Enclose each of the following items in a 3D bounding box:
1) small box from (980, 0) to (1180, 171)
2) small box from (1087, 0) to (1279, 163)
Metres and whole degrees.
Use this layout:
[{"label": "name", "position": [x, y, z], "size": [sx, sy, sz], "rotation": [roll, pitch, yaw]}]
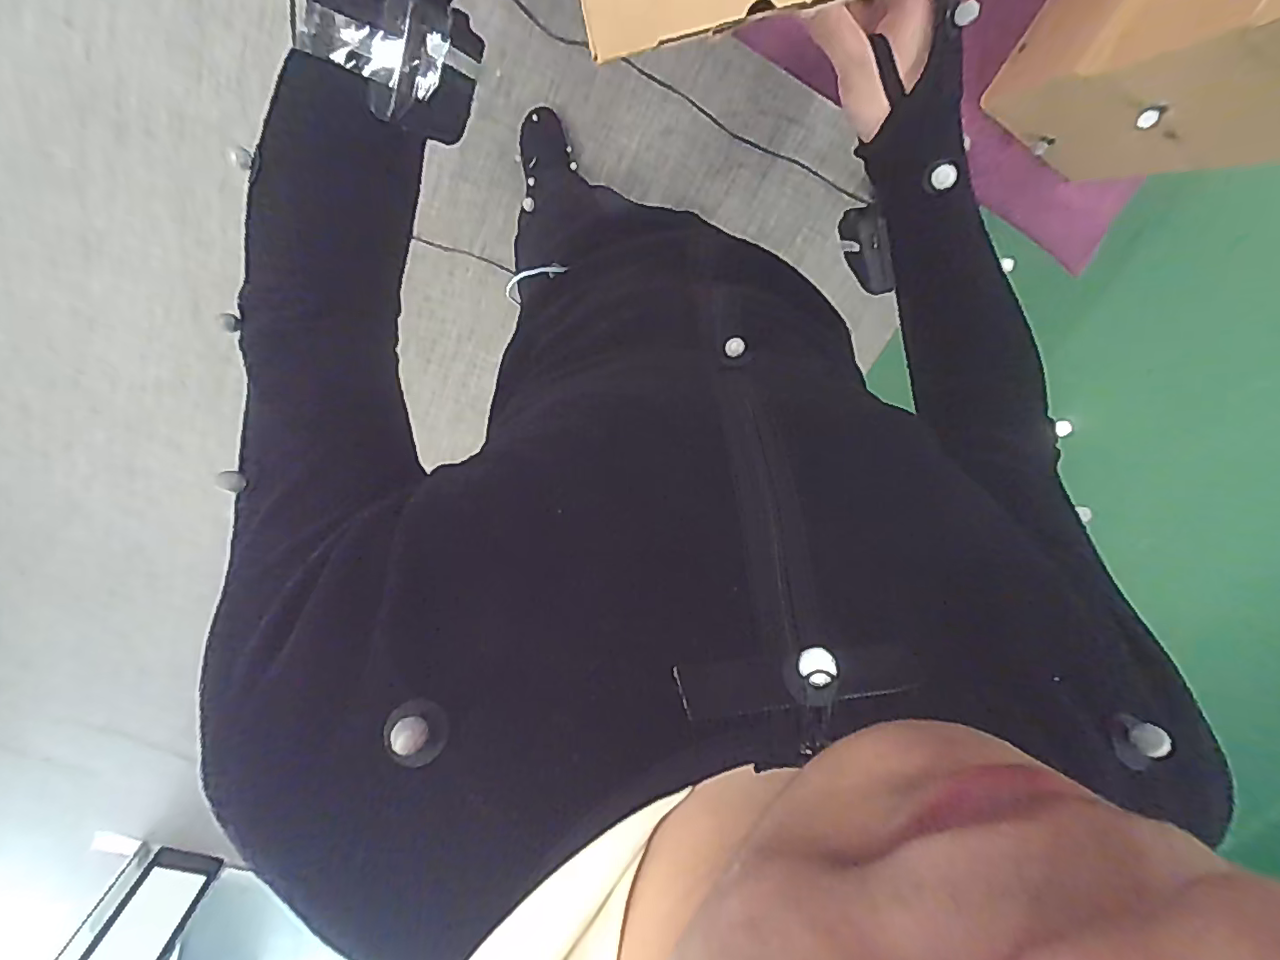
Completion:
[{"label": "small box", "position": [0.535, -0.468, 0.596], "size": [0.179, 0.176, 0.168], "rotation": [27, 112, -13]}, {"label": "small box", "position": [0.543, -0.398, 0.447], "size": [0.168, 0.176, 0.179], "rotation": [27, 112, -12]}]
